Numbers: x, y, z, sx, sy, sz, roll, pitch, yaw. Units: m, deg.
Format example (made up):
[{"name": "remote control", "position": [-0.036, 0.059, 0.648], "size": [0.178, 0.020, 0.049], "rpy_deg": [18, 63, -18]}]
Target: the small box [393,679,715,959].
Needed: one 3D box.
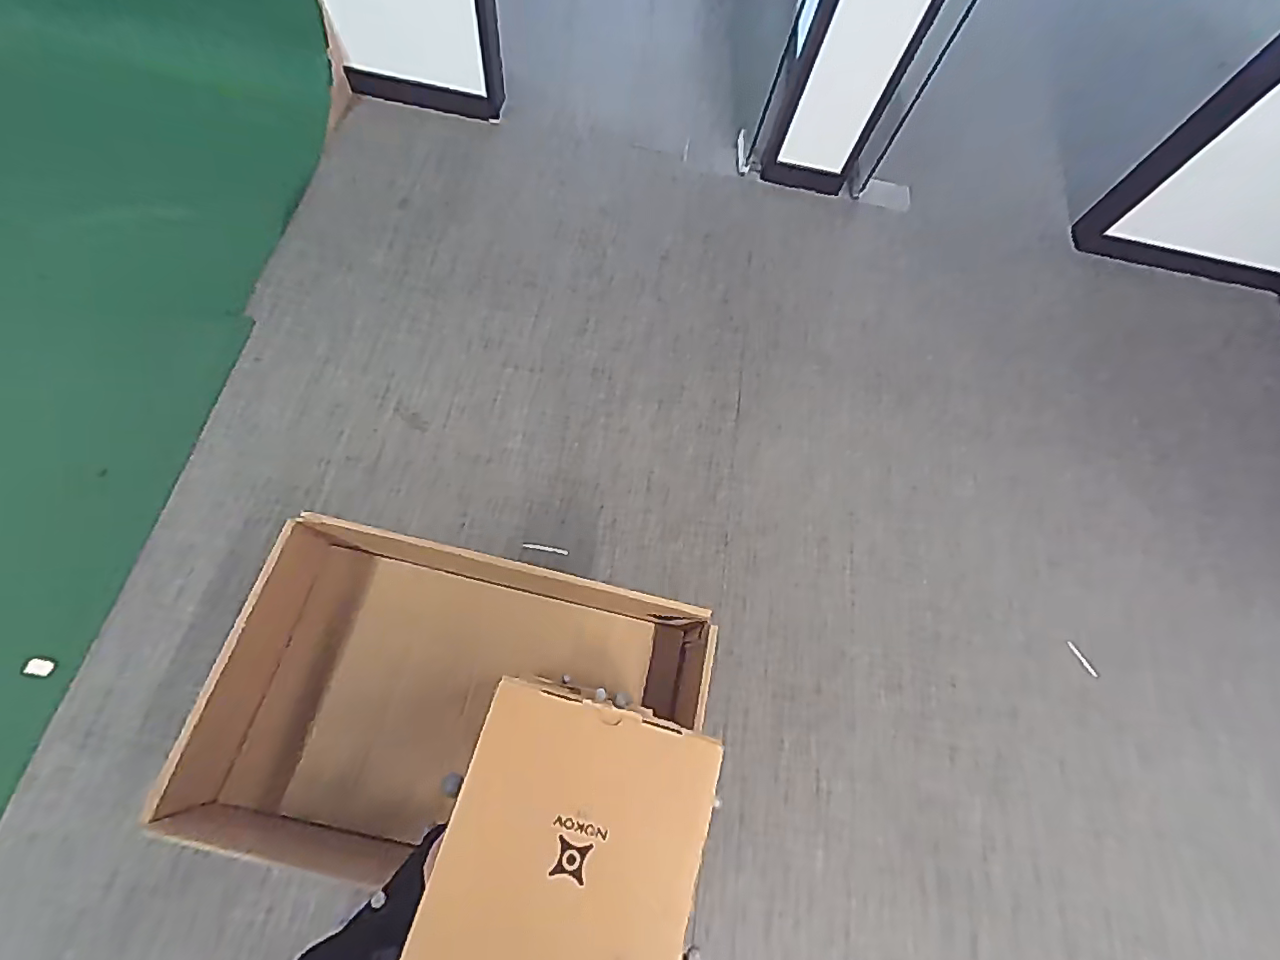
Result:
[{"name": "small box", "position": [-0.055, 0.270, 0.420], "size": [0.168, 0.176, 0.179], "rpy_deg": [17, 66, 0]}]
